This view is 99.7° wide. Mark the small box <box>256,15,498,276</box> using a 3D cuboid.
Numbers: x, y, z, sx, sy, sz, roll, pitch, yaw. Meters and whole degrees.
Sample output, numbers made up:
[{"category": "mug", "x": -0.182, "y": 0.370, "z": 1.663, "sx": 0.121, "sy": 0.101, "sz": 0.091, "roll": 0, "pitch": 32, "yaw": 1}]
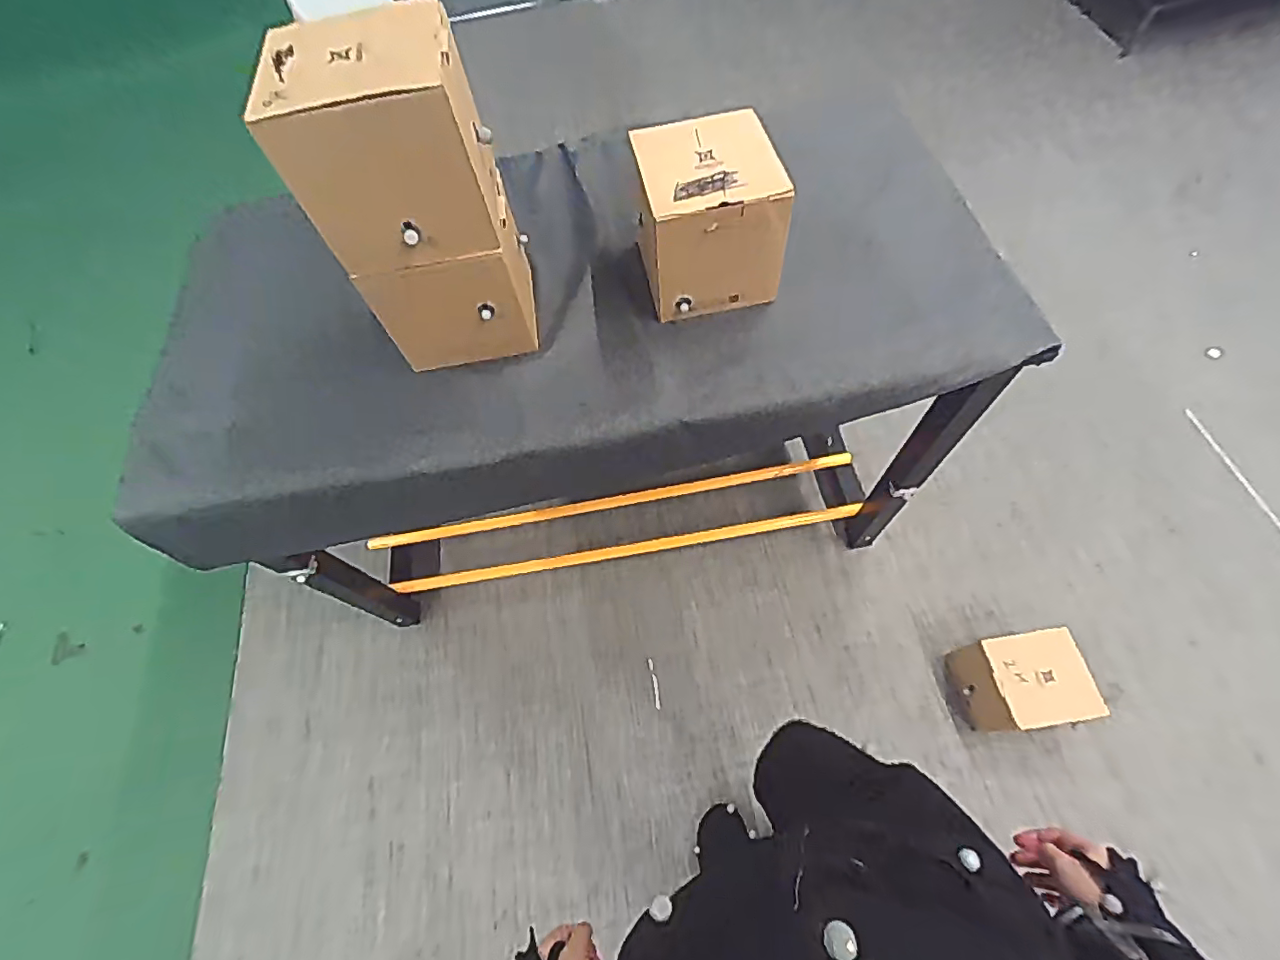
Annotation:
[{"category": "small box", "x": -0.257, "y": -0.348, "z": 0.578, "sx": 0.179, "sy": 0.176, "sz": 0.168, "roll": -11, "pitch": 61, "yaw": -2}]

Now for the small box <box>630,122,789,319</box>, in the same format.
[{"category": "small box", "x": 0.087, "y": -0.338, "z": 0.731, "sx": 0.168, "sy": 0.176, "sz": 0.179, "roll": -11, "pitch": 61, "yaw": -2}]

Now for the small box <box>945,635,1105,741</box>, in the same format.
[{"category": "small box", "x": 0.763, "y": 0.425, "z": 1.096, "sx": 0.179, "sy": 0.176, "sz": 0.168, "roll": -9, "pitch": 61, "yaw": 0}]

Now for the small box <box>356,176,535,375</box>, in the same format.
[{"category": "small box", "x": -0.242, "y": -0.264, "z": 0.718, "sx": 0.179, "sy": 0.176, "sz": 0.168, "roll": -10, "pitch": 60, "yaw": 0}]
